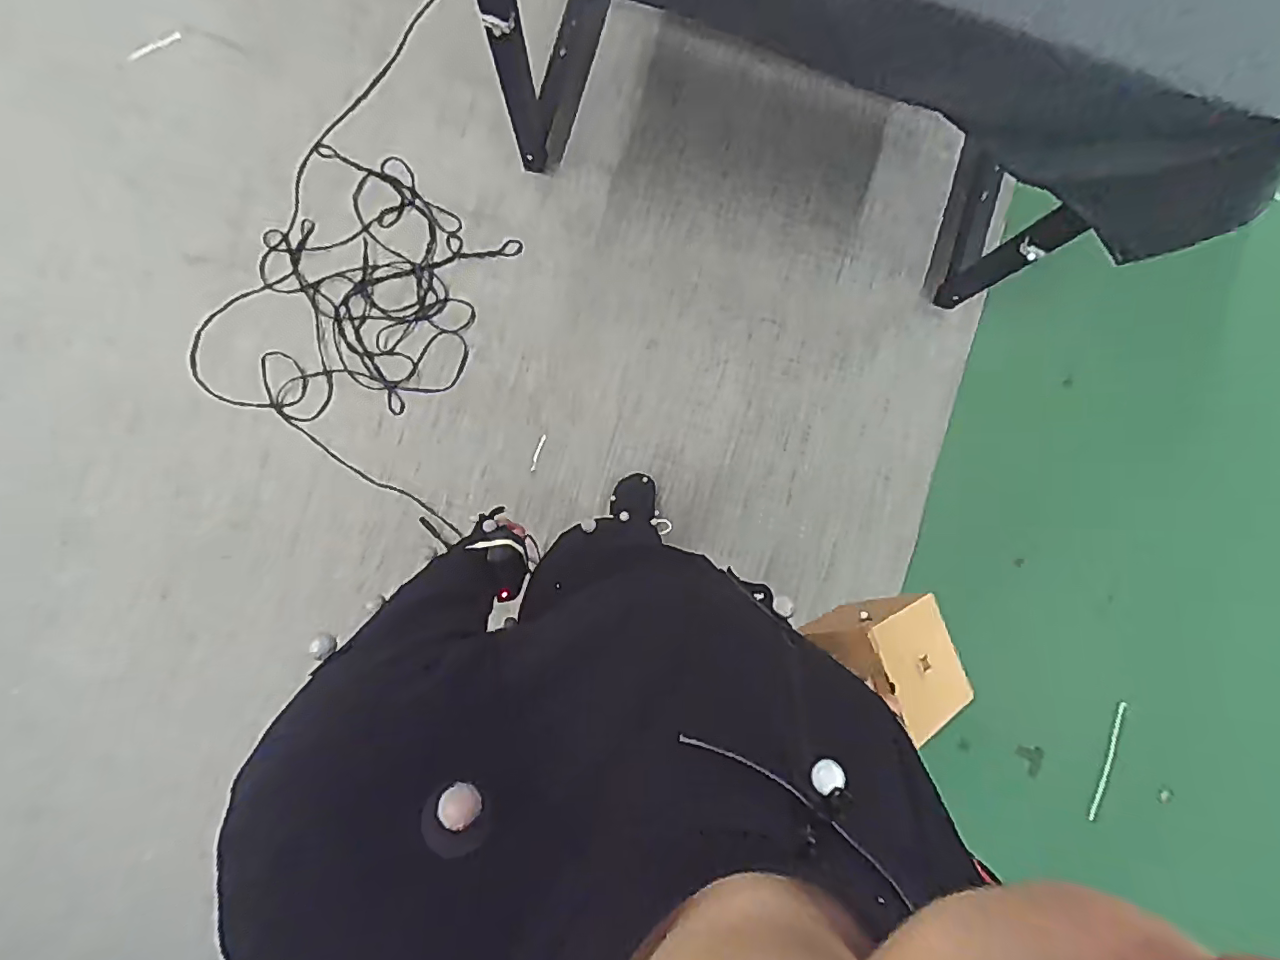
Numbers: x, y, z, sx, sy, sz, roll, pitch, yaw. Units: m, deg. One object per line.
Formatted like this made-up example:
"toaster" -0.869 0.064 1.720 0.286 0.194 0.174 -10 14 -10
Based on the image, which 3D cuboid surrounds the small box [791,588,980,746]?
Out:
"small box" 0.365 0.274 0.821 0.179 0.176 0.168 -14 81 -34
